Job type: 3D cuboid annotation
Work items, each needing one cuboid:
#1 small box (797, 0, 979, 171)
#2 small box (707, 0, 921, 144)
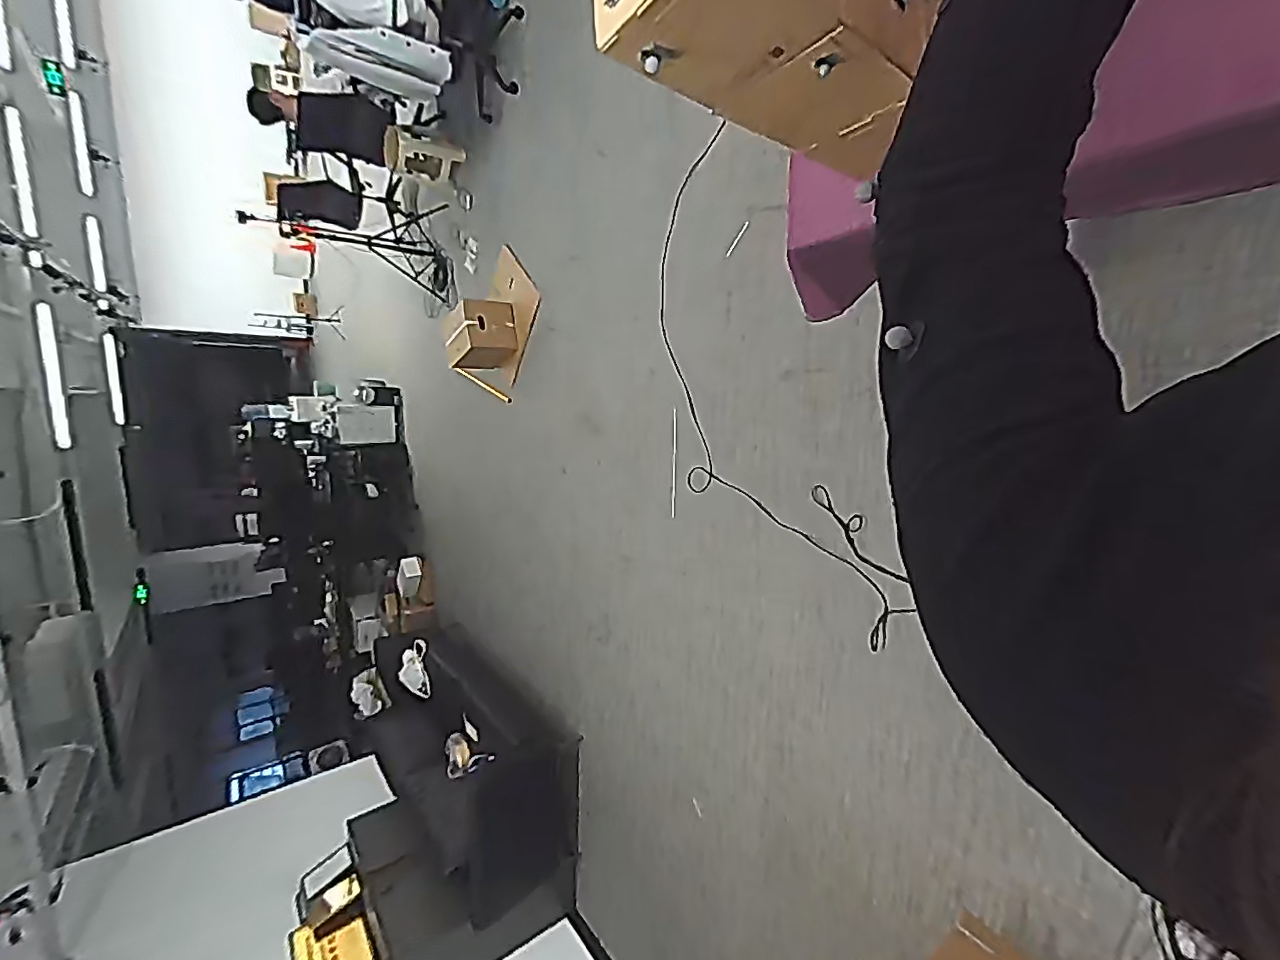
[{"bbox_3d":[0.326,-0.536,0.715,0.168,0.176,0.179,6,99,51],"label":"small box"},{"bbox_3d":[0.196,-0.523,0.619,0.179,0.176,0.168,3,97,50],"label":"small box"}]
